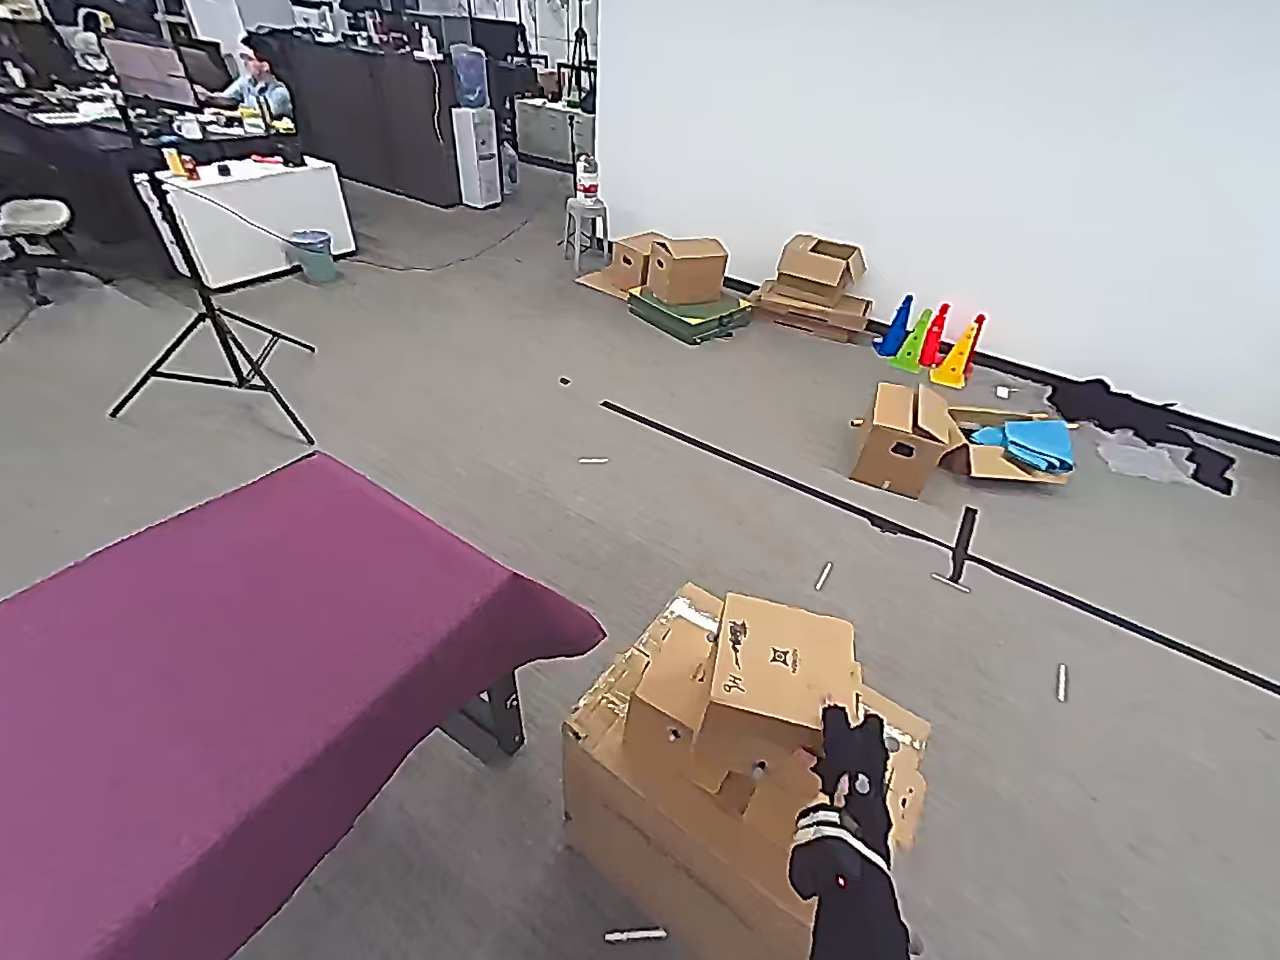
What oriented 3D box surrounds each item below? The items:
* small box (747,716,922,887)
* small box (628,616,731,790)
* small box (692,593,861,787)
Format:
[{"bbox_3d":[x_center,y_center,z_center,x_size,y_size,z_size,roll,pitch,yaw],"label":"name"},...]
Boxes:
[{"bbox_3d":[0.278,0.454,0.794,0.179,0.176,0.168,25,44,25],"label":"small box"},{"bbox_3d":[0.094,0.364,0.881,0.179,0.176,0.168,24,44,18],"label":"small box"},{"bbox_3d":[0.179,0.286,0.731,0.179,0.176,0.168,13,41,8],"label":"small box"}]
